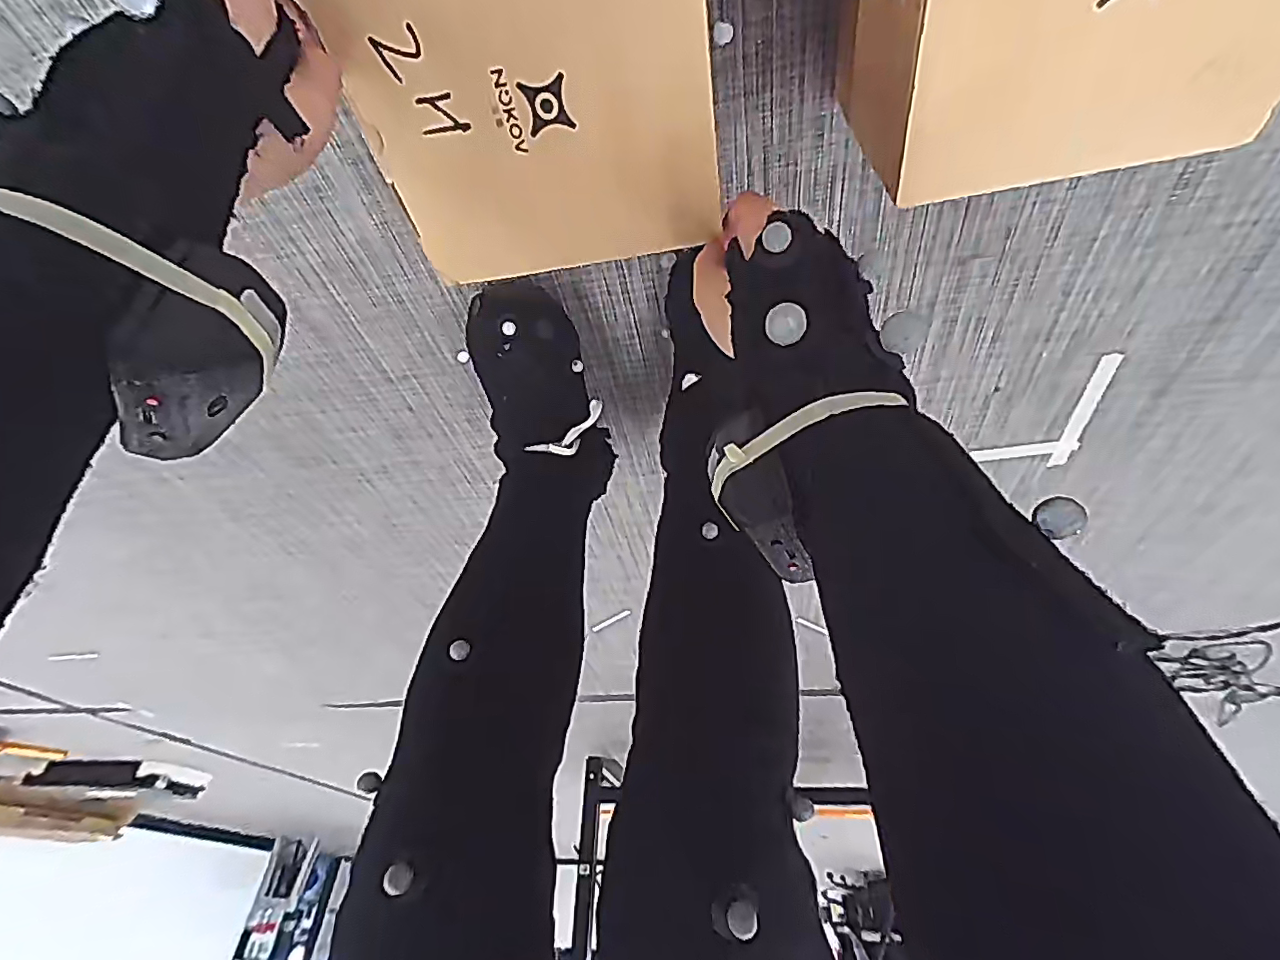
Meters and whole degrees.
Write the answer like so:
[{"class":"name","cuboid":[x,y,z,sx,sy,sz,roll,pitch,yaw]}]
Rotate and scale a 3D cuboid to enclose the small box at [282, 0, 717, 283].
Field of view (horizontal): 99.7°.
[{"class":"small box","cuboid":[-0.055,-0.240,0.305,0.179,0.176,0.168,-6,139,9]}]
